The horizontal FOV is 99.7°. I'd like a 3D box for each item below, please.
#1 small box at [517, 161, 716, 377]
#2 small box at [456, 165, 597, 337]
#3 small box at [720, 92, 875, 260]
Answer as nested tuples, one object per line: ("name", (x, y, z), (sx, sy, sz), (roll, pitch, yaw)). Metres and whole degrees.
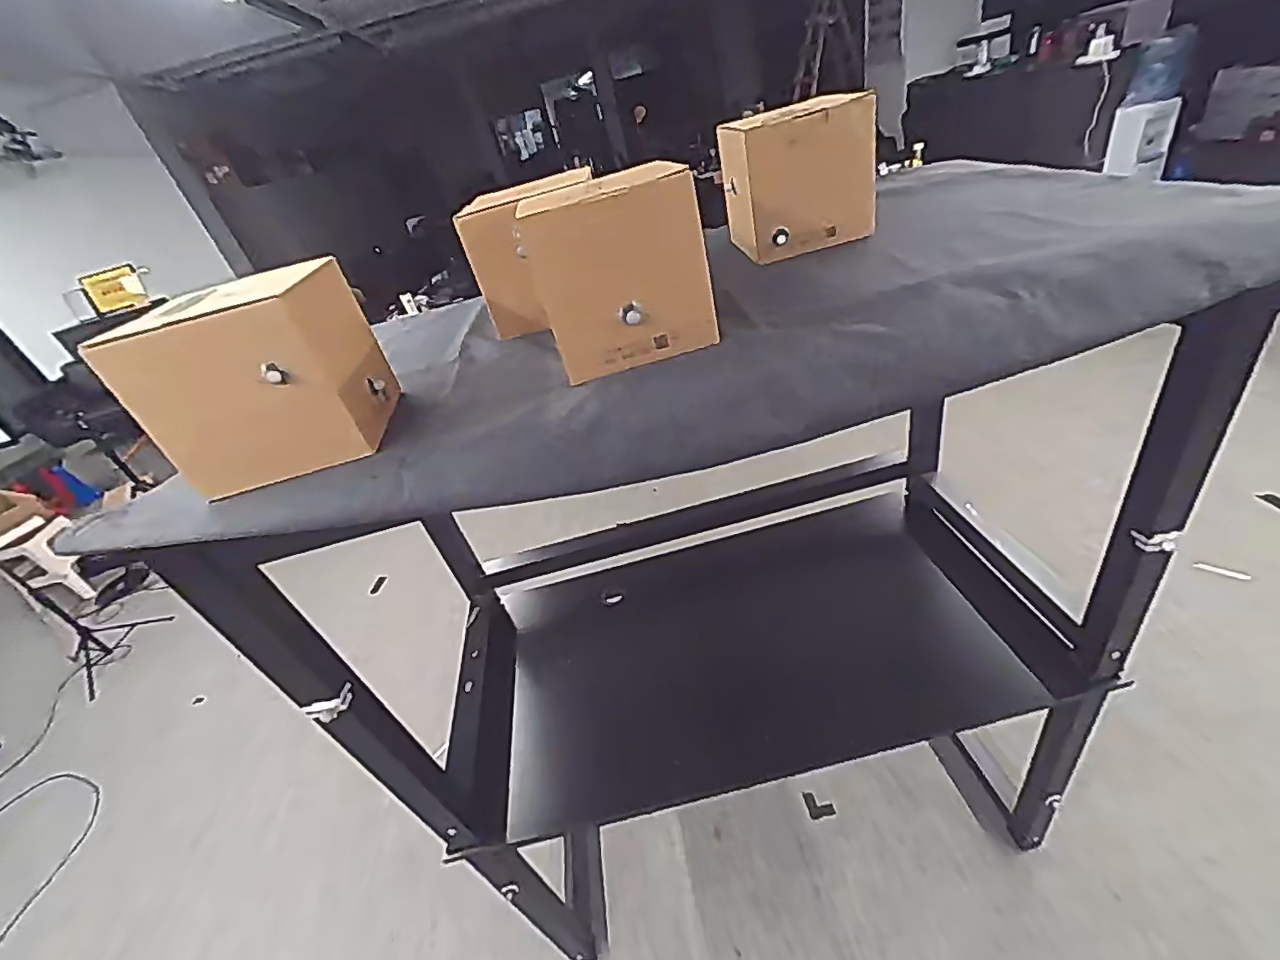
("small box", (-0.025, -0.233, 0.594), (0.168, 0.176, 0.179), (-16, 34, 0))
("small box", (-0.129, -0.325, 0.768), (0.179, 0.176, 0.168), (-13, 35, 6))
("small box", (0.222, -0.431, 0.774), (0.168, 0.176, 0.179), (-13, 34, 4))
